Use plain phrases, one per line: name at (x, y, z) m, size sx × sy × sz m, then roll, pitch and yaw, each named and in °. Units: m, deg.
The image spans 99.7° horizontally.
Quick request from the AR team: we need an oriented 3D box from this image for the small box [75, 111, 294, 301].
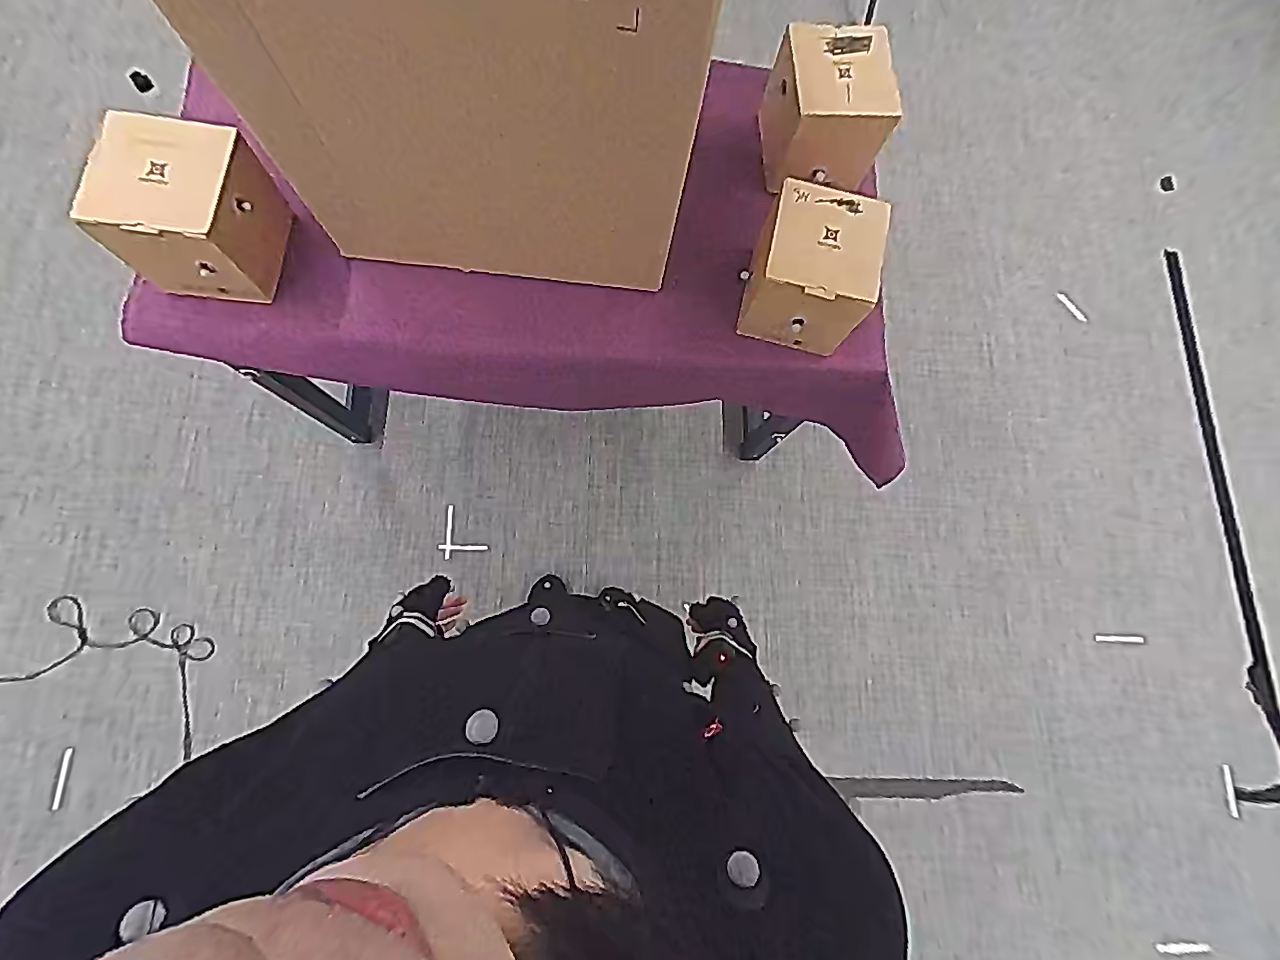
small box at (-0.643, -0.387, 0.791) m, size 0.168 × 0.176 × 0.179 m, roll 5°, pitch 75°, yaw -7°
